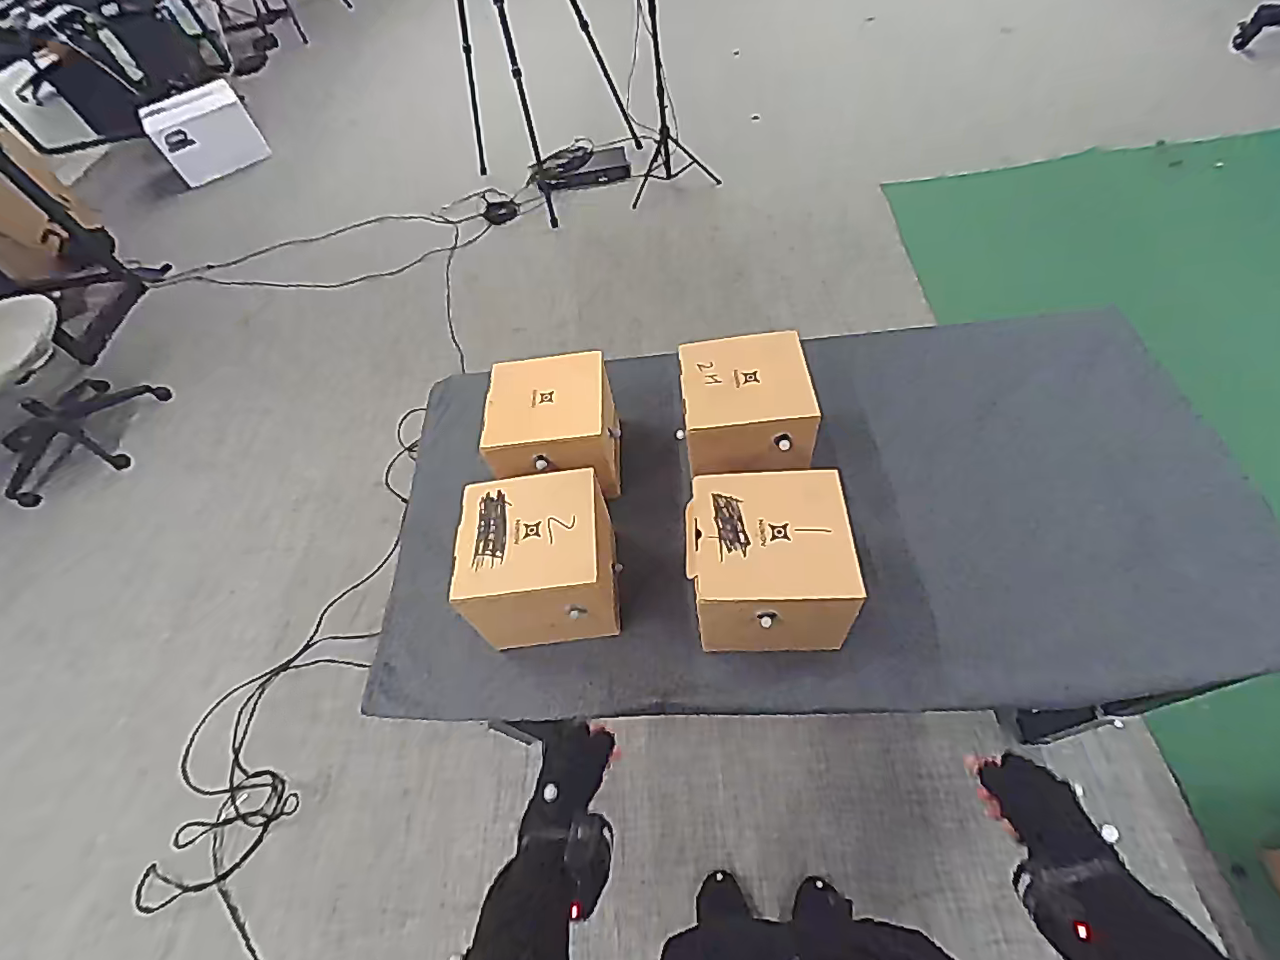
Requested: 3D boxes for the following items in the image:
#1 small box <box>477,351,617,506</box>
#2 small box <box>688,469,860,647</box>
[{"bbox_3d":[-0.132,-0.074,0.848,0.179,0.176,0.168,-7,56,6],"label":"small box"},{"bbox_3d":[0.155,0.103,0.673,0.179,0.176,0.168,-3,55,7],"label":"small box"}]
